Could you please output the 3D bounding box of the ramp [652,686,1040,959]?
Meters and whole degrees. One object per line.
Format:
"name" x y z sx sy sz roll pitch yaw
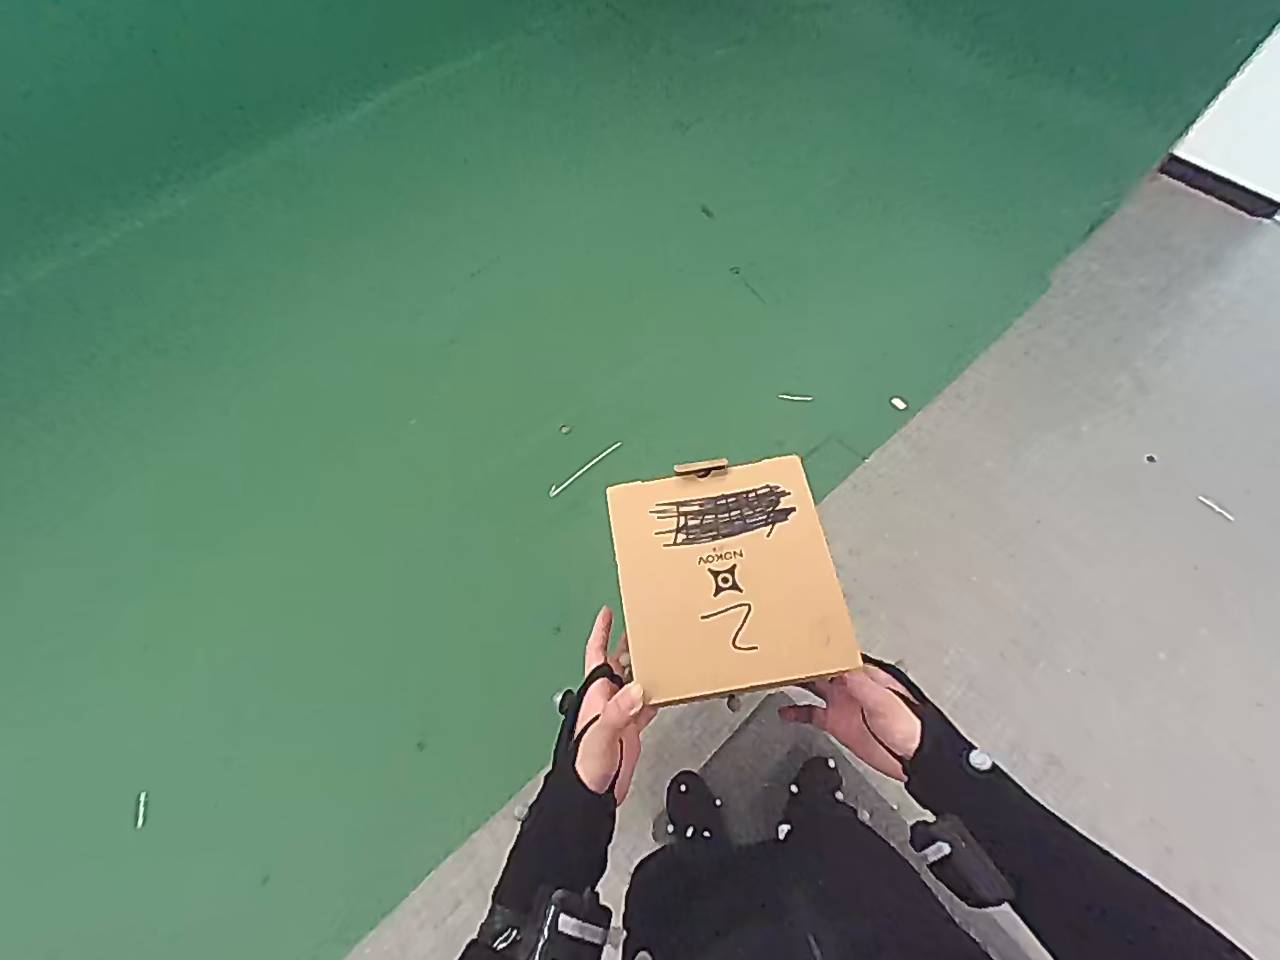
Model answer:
"ramp" 0.536 1.045 1.291 0.509 0.206 0.991 -42 71 -16
